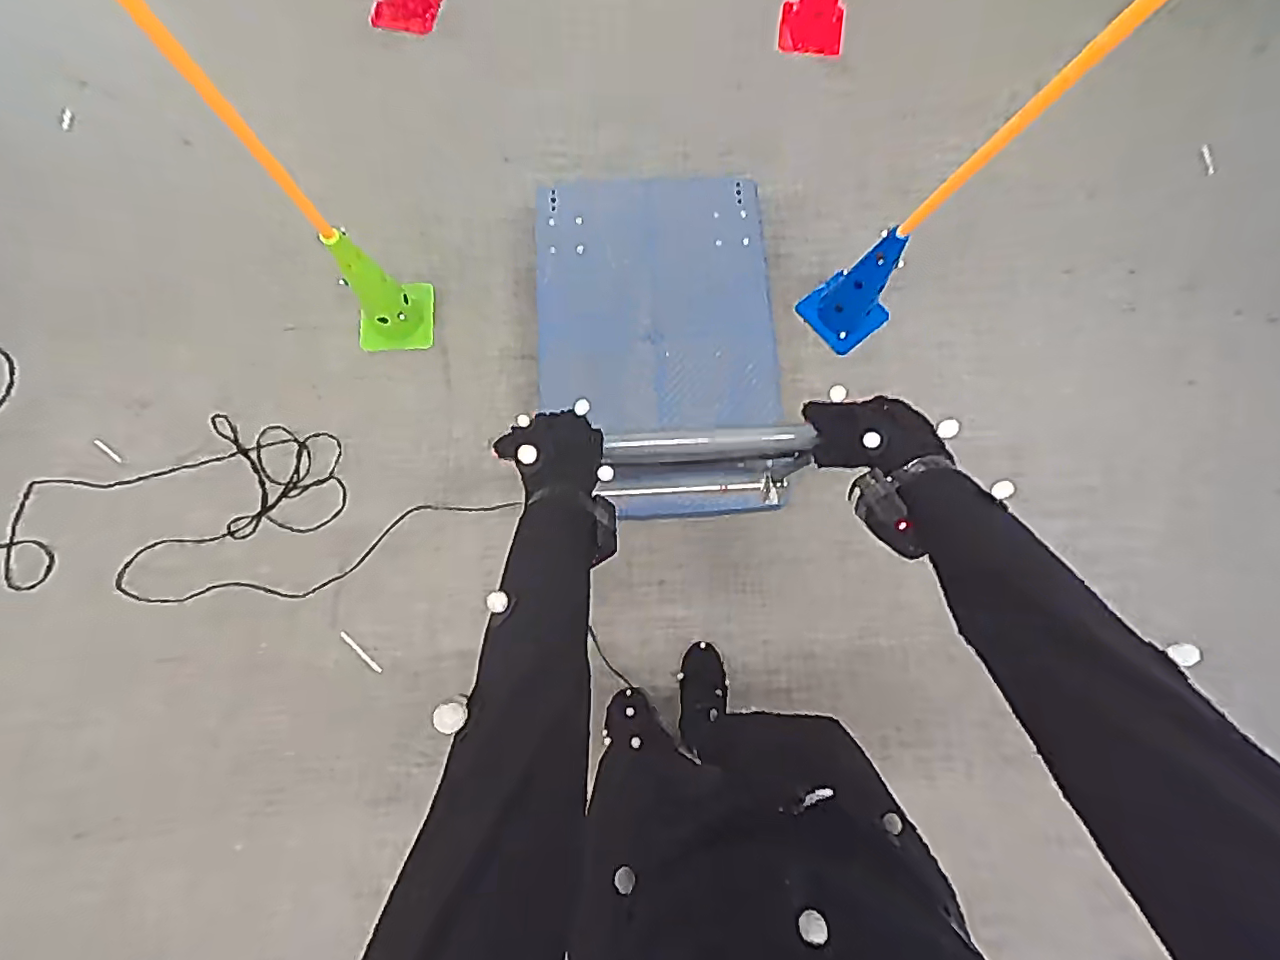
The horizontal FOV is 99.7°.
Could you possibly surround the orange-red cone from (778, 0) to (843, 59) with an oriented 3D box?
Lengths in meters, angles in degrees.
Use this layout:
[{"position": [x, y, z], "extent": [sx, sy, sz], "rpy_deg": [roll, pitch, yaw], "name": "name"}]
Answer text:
[{"position": [0.545, -1.465, 1.559], "extent": [0.198, 0.360, 0.199], "rpy_deg": [9, 79, 2], "name": "orange-red cone"}]
